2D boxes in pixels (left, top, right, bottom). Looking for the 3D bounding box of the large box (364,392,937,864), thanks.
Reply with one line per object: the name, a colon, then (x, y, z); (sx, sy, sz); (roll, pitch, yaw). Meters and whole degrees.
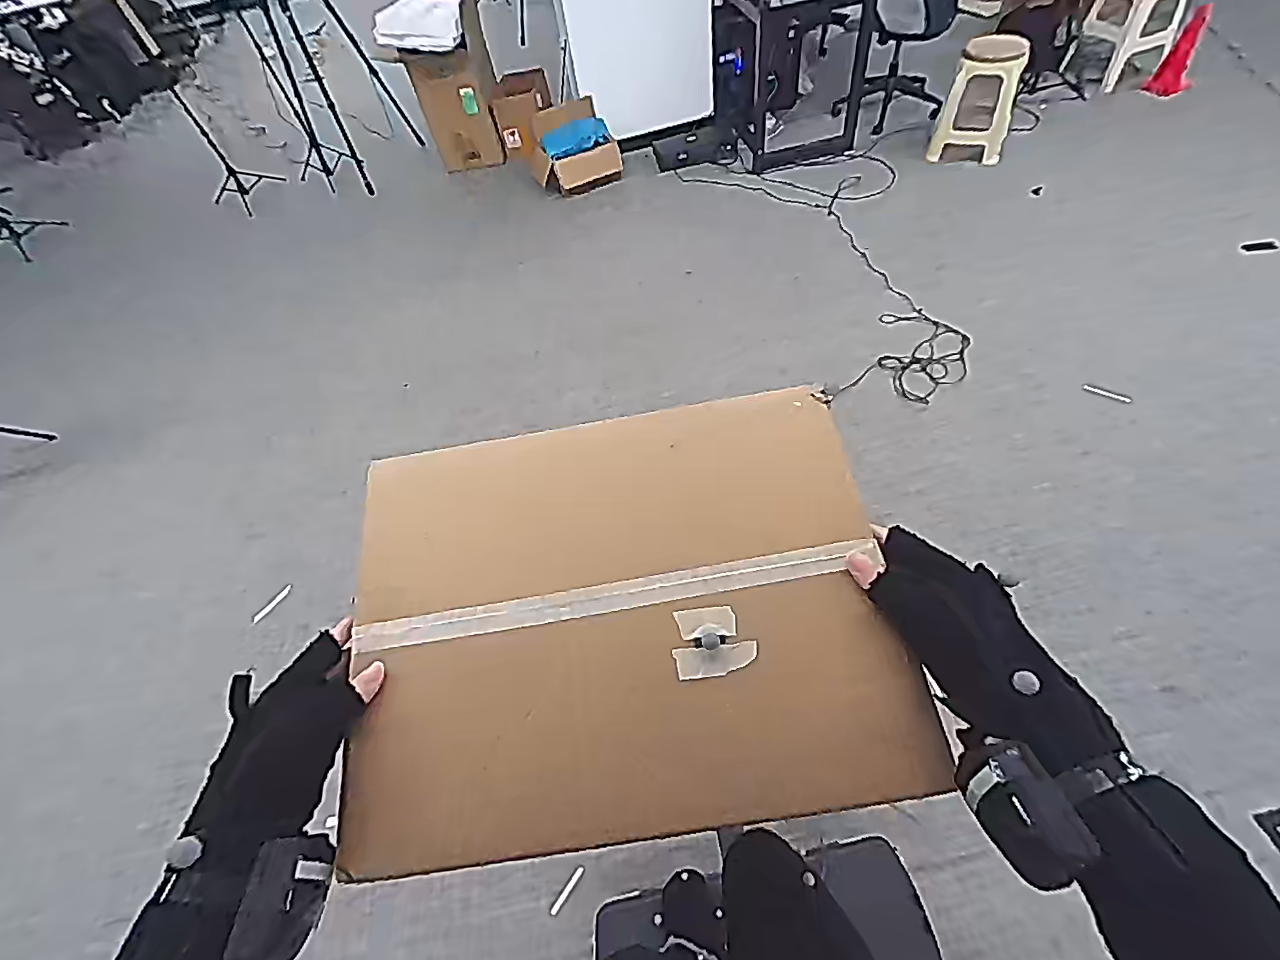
large box: (-0.003, 0.154, 0.561); (0.408, 0.320, 0.320); (-10, 65, 2)
